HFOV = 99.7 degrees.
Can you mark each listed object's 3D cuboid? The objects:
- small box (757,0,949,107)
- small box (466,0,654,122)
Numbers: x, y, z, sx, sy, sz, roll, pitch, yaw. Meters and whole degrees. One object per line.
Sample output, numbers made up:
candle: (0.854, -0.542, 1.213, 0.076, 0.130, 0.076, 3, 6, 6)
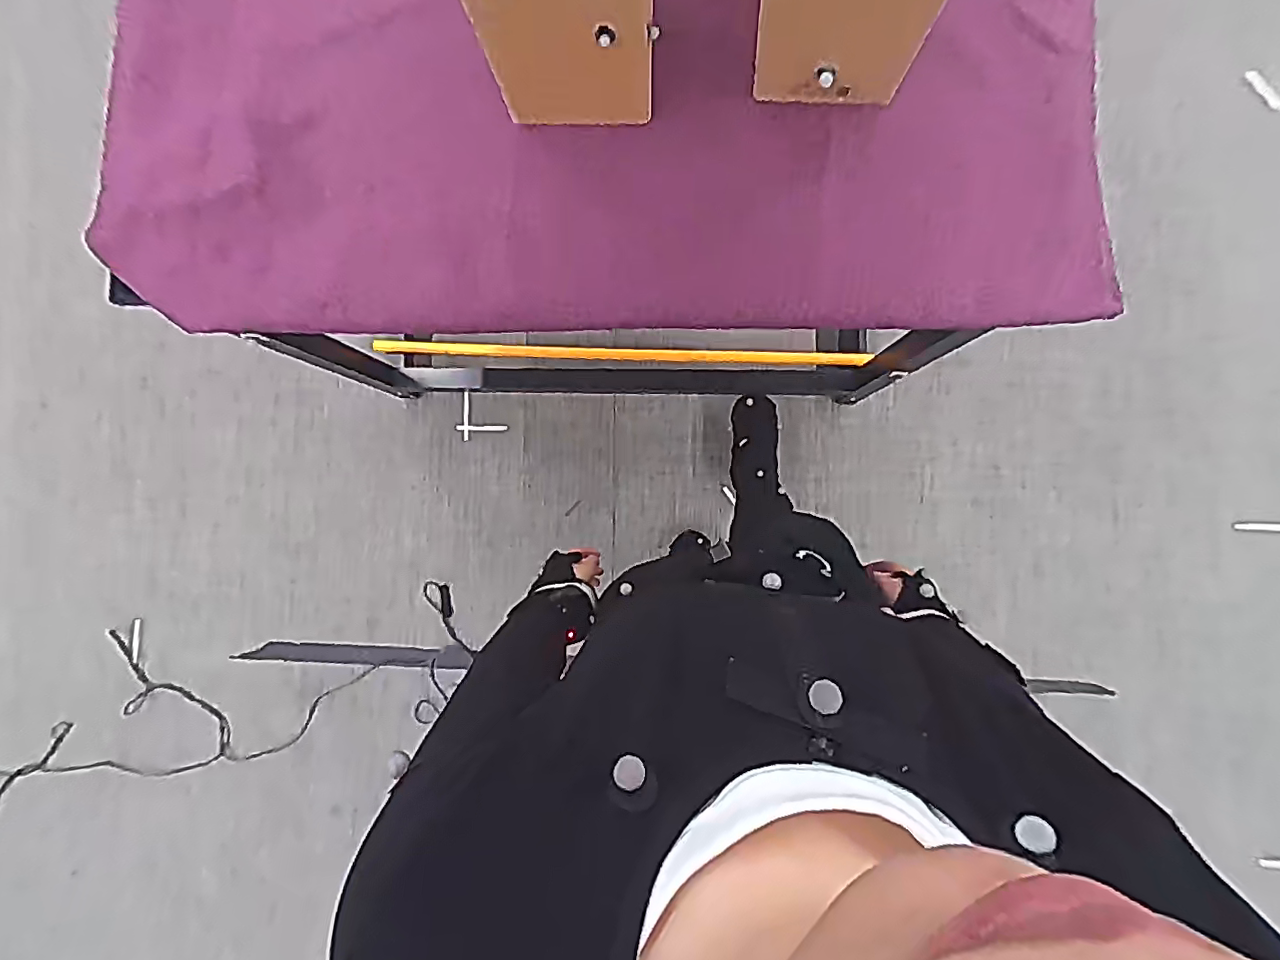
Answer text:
small box: (0.226, -0.551, 0.583, 0.168, 0.176, 0.179, 5, 89, 3)
small box: (-0.076, -0.530, 0.598, 0.179, 0.176, 0.168, 1, 88, 2)
